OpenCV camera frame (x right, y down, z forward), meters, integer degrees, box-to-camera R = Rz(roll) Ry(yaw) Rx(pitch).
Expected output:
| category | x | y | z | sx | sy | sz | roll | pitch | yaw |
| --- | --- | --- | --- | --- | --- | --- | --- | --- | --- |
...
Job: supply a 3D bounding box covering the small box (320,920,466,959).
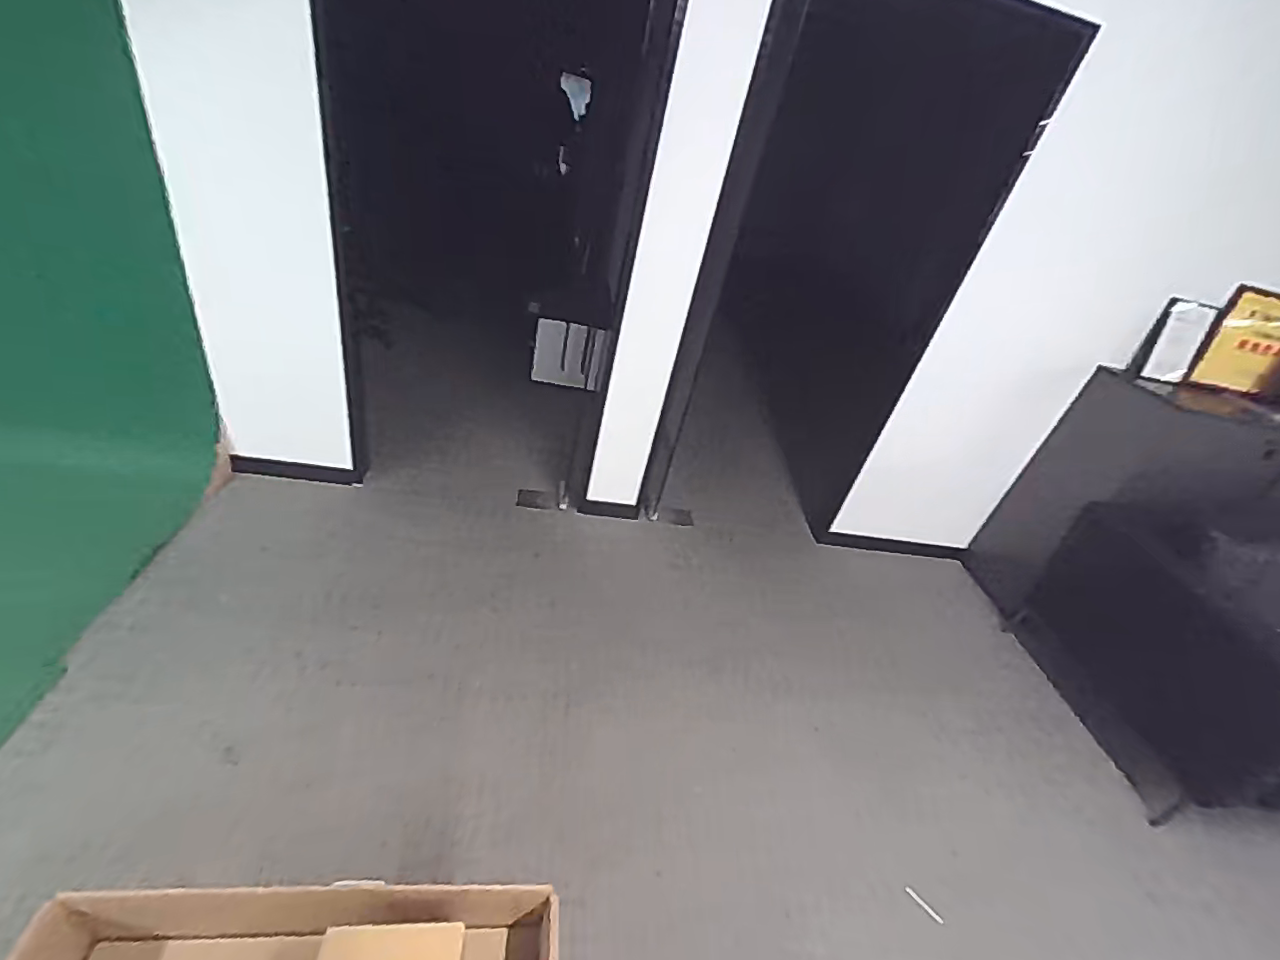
| category | x | y | z | sx | sy | sz | roll | pitch | yaw |
| --- | --- | --- | --- | --- | --- | --- | --- | --- | --- |
| small box | -0.313 | 0.671 | 0.655 | 0.168 | 0.176 | 0.179 | 7 | 35 | -11 |
